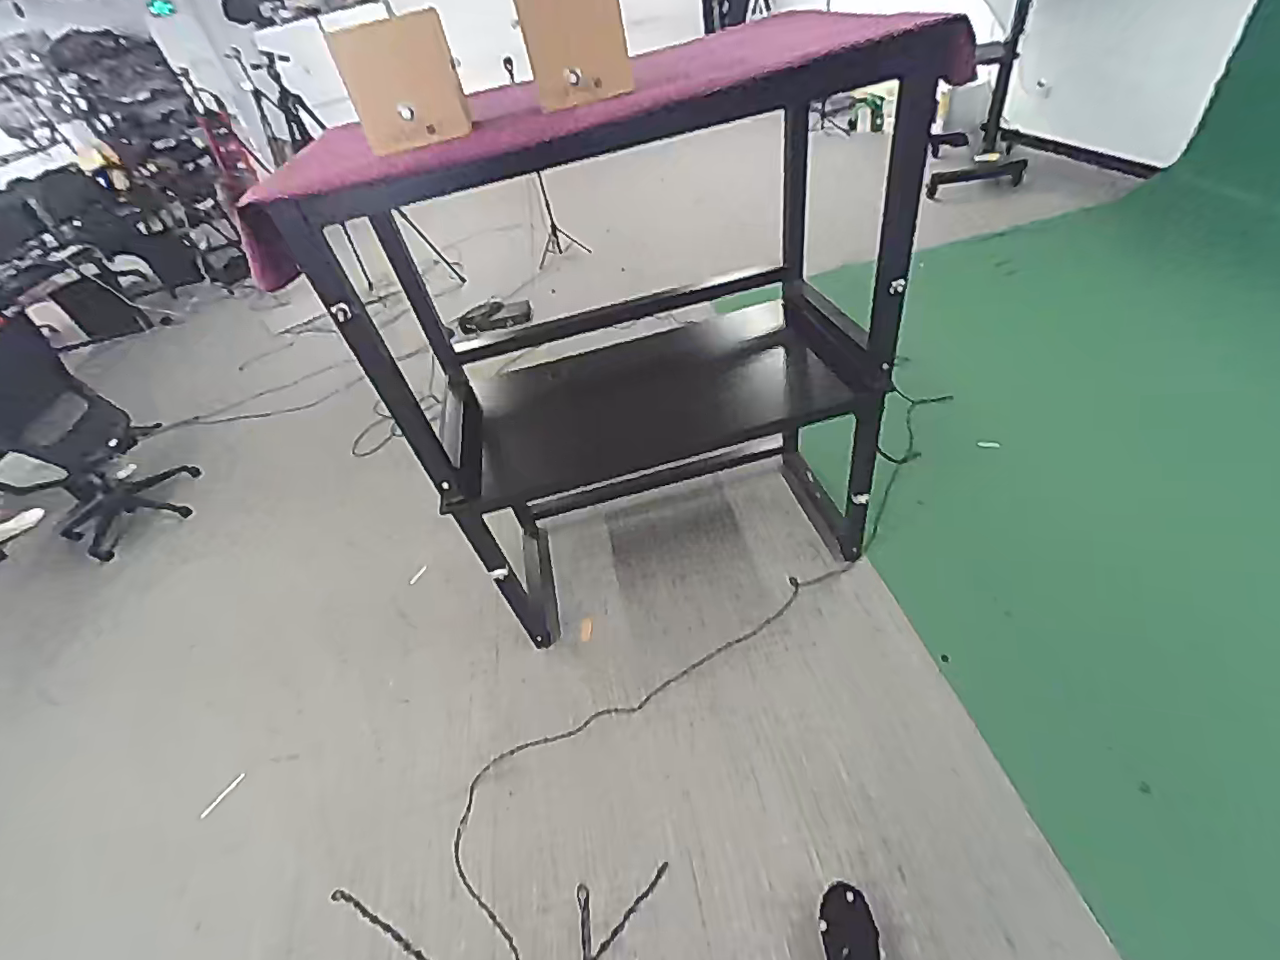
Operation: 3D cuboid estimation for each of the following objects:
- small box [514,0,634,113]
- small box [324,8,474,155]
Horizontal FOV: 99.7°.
[{"bbox_3d":[-0.114,-0.758,0.937,0.168,0.176,0.179,-14,43,1],"label":"small box"},{"bbox_3d":[-0.390,-0.670,0.914,0.168,0.176,0.179,-16,43,-2],"label":"small box"}]
